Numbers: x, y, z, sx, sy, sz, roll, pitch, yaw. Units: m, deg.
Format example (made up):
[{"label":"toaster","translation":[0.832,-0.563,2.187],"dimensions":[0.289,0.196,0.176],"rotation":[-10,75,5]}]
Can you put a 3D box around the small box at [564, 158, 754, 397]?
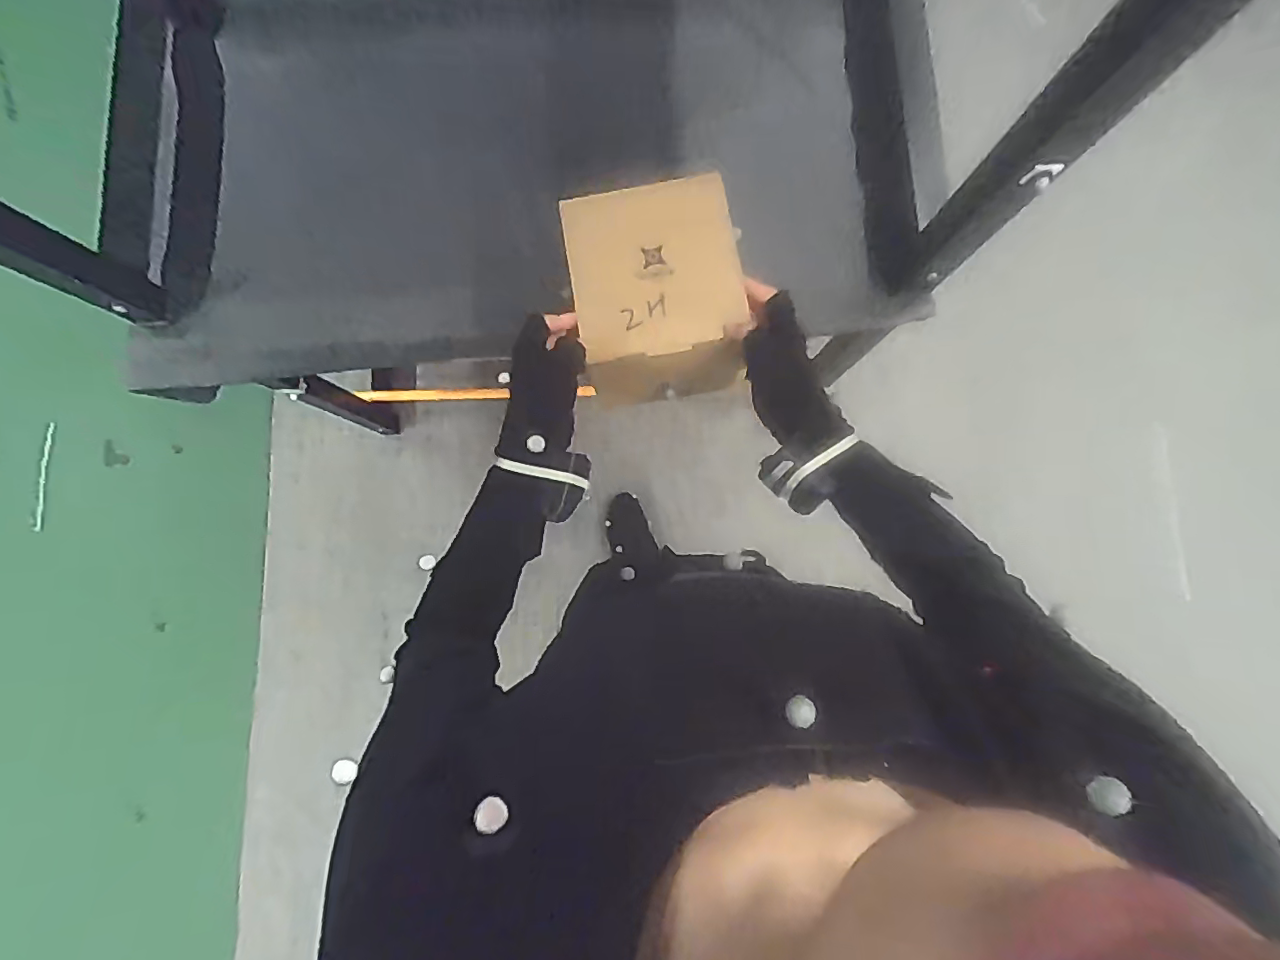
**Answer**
[{"label":"small box","translation":[0.019,-0.209,0.598],"dimensions":[0.168,0.176,0.179],"rotation":[-9,81,2]}]
